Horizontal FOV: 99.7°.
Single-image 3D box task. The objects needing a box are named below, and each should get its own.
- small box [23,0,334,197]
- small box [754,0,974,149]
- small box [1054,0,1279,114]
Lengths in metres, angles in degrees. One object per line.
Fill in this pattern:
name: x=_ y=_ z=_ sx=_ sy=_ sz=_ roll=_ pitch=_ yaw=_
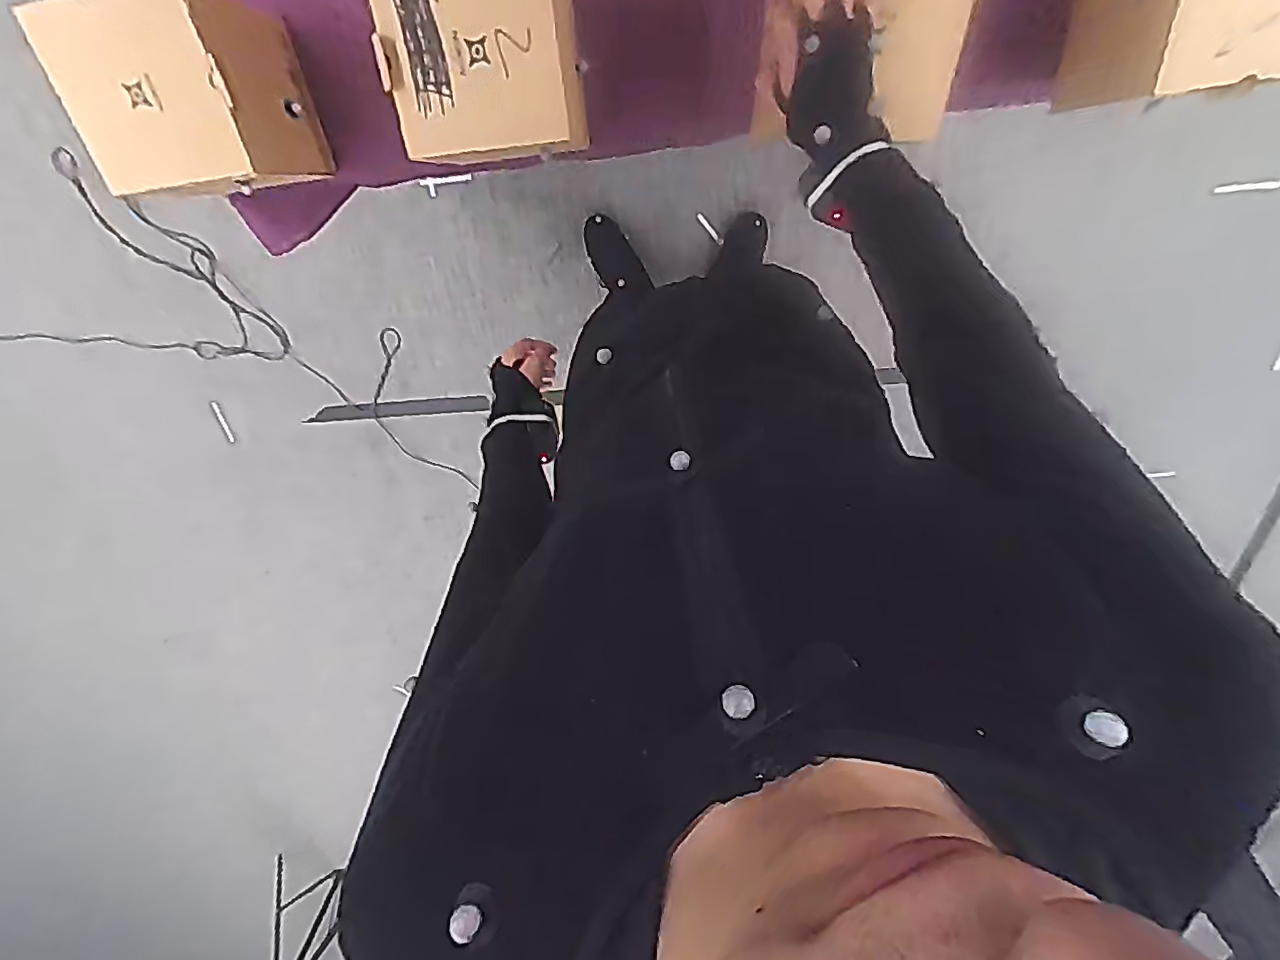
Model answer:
small box: x=-0.502 y=-0.428 z=0.623 sx=0.179 sy=0.176 sz=0.168 roll=-6 pitch=118 yaw=5
small box: x=0.221 y=-0.457 z=0.569 sx=0.168 sy=0.176 sz=0.179 roll=3 pitch=121 yaw=1
small box: x=0.557 y=-0.484 z=0.534 sx=0.168 sy=0.176 sz=0.179 roll=-4 pitch=119 yaw=6
